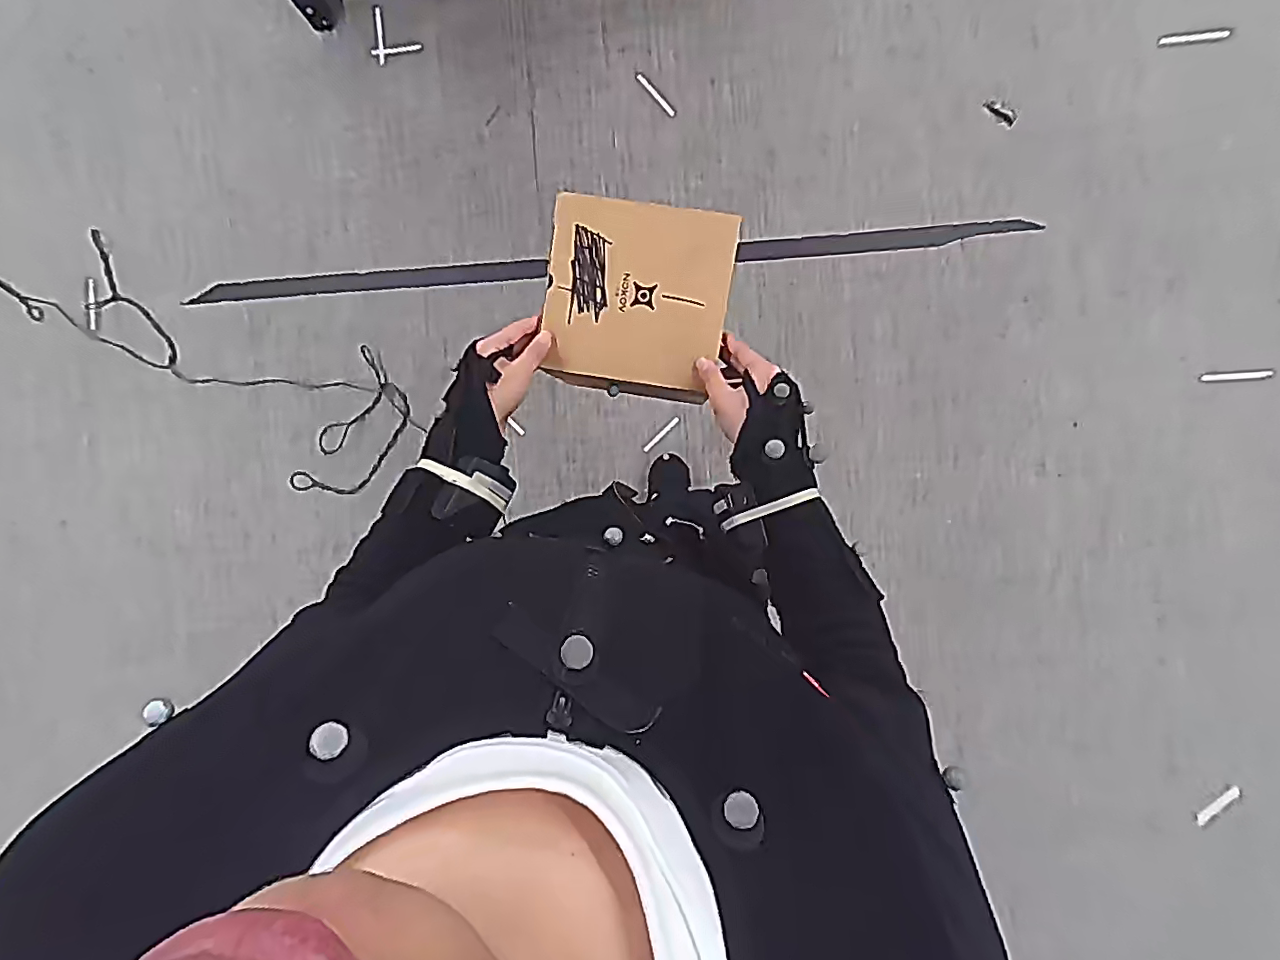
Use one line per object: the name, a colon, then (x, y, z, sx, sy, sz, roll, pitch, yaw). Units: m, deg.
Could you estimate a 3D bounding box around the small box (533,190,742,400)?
small box: (0.001, -0.182, 0.582, 0.179, 0.176, 0.168, 9, 95, 3)
